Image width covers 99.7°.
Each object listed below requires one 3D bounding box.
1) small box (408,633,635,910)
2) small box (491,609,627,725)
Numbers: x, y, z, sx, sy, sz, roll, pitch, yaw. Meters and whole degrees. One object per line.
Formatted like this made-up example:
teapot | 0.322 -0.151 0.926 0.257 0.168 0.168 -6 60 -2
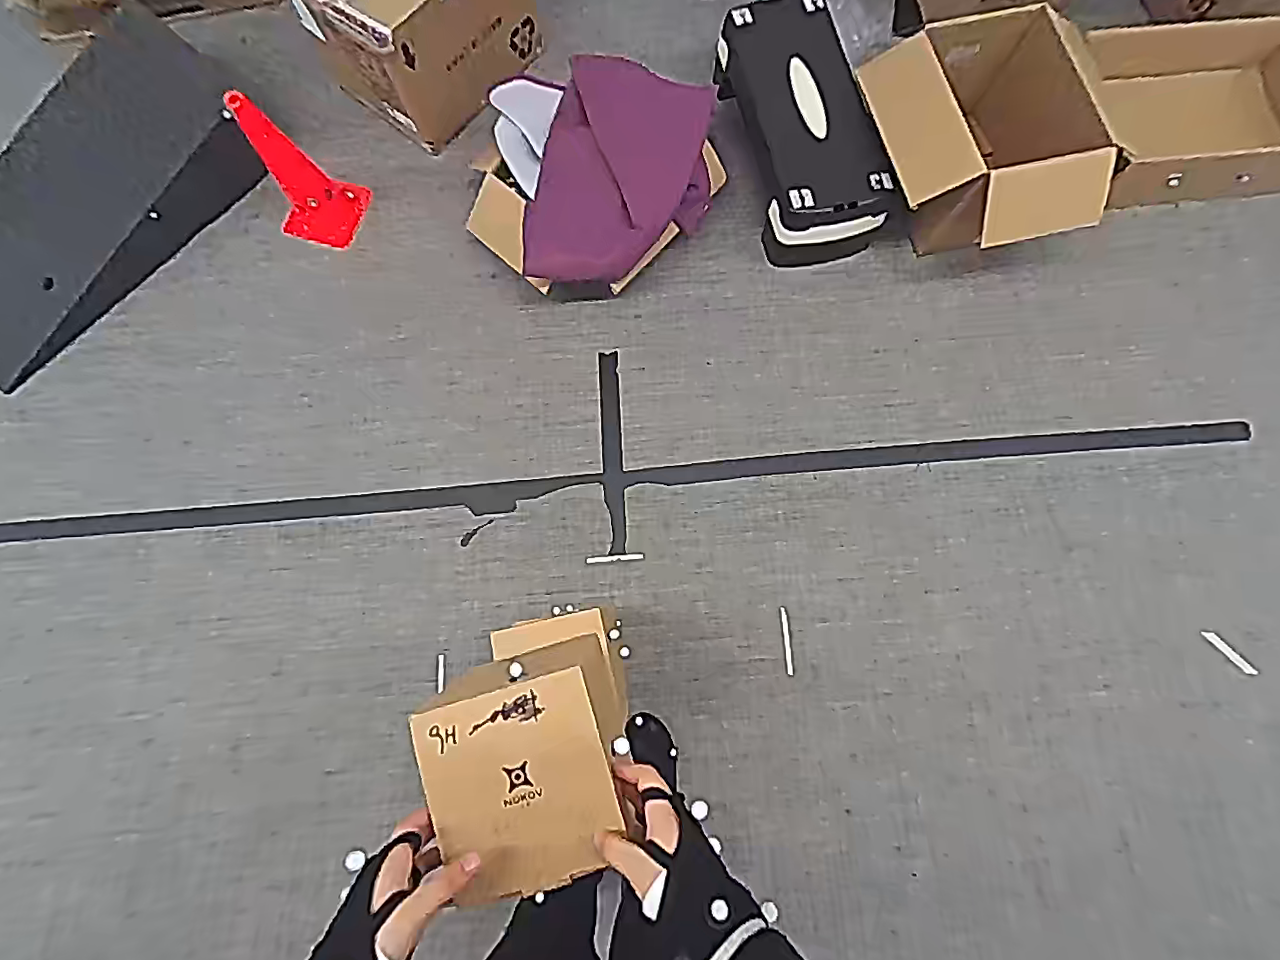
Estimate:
small box | -0.106 0.279 0.559 0.168 0.176 0.179 -17 86 0
small box | -0.118 0.305 0.844 0.168 0.176 0.179 -13 78 -2
